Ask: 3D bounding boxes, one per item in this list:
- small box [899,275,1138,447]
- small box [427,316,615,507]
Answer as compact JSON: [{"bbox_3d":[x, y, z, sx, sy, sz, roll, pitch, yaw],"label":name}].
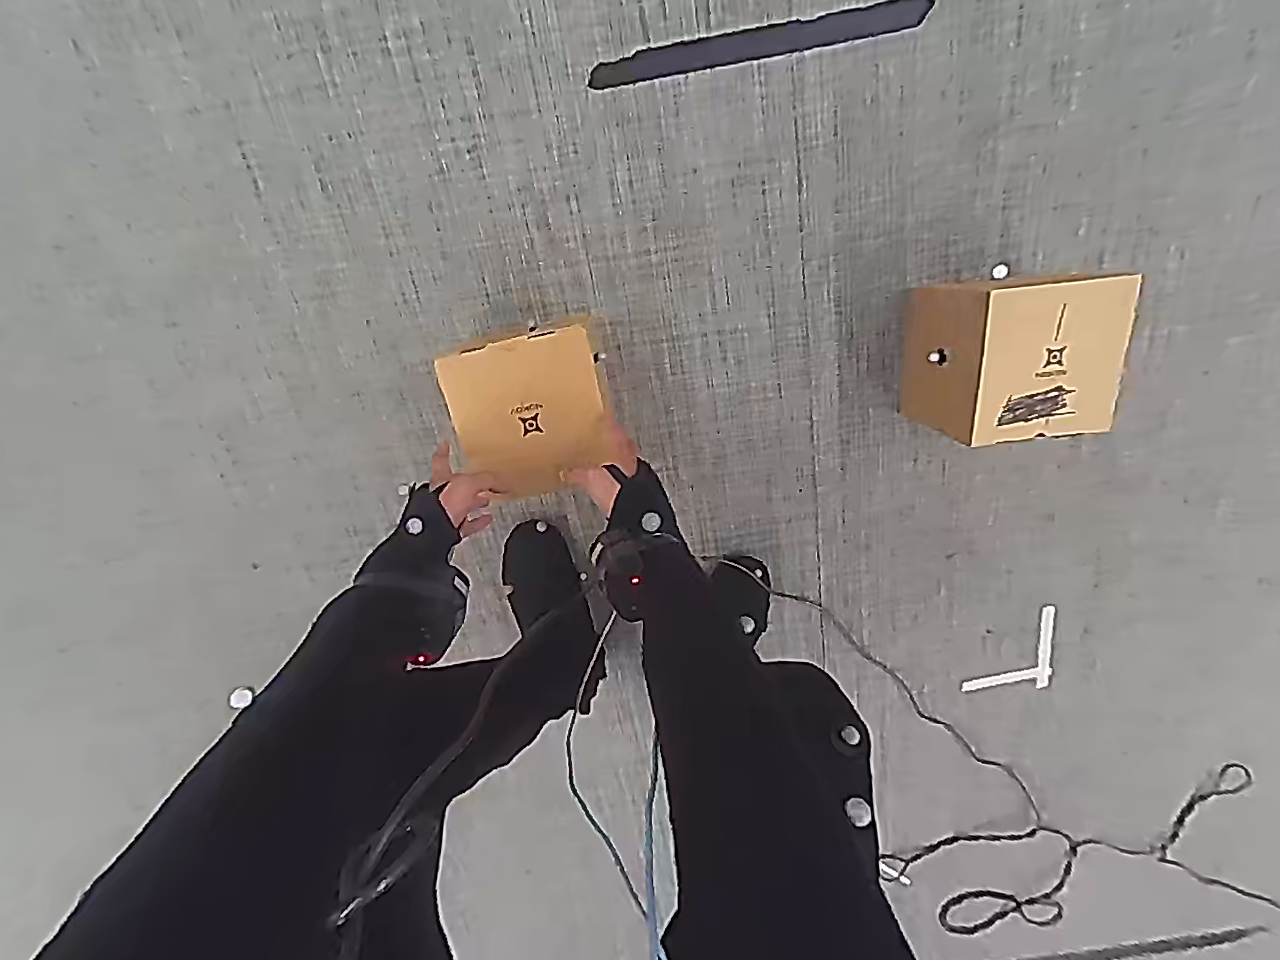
[{"bbox_3d":[0.441,-0.154,0.666,0.168,0.176,0.179,-6,110,-1],"label":"small box"},{"bbox_3d":[-0.127,-0.091,0.662,0.168,0.176,0.179,-14,110,2],"label":"small box"}]
